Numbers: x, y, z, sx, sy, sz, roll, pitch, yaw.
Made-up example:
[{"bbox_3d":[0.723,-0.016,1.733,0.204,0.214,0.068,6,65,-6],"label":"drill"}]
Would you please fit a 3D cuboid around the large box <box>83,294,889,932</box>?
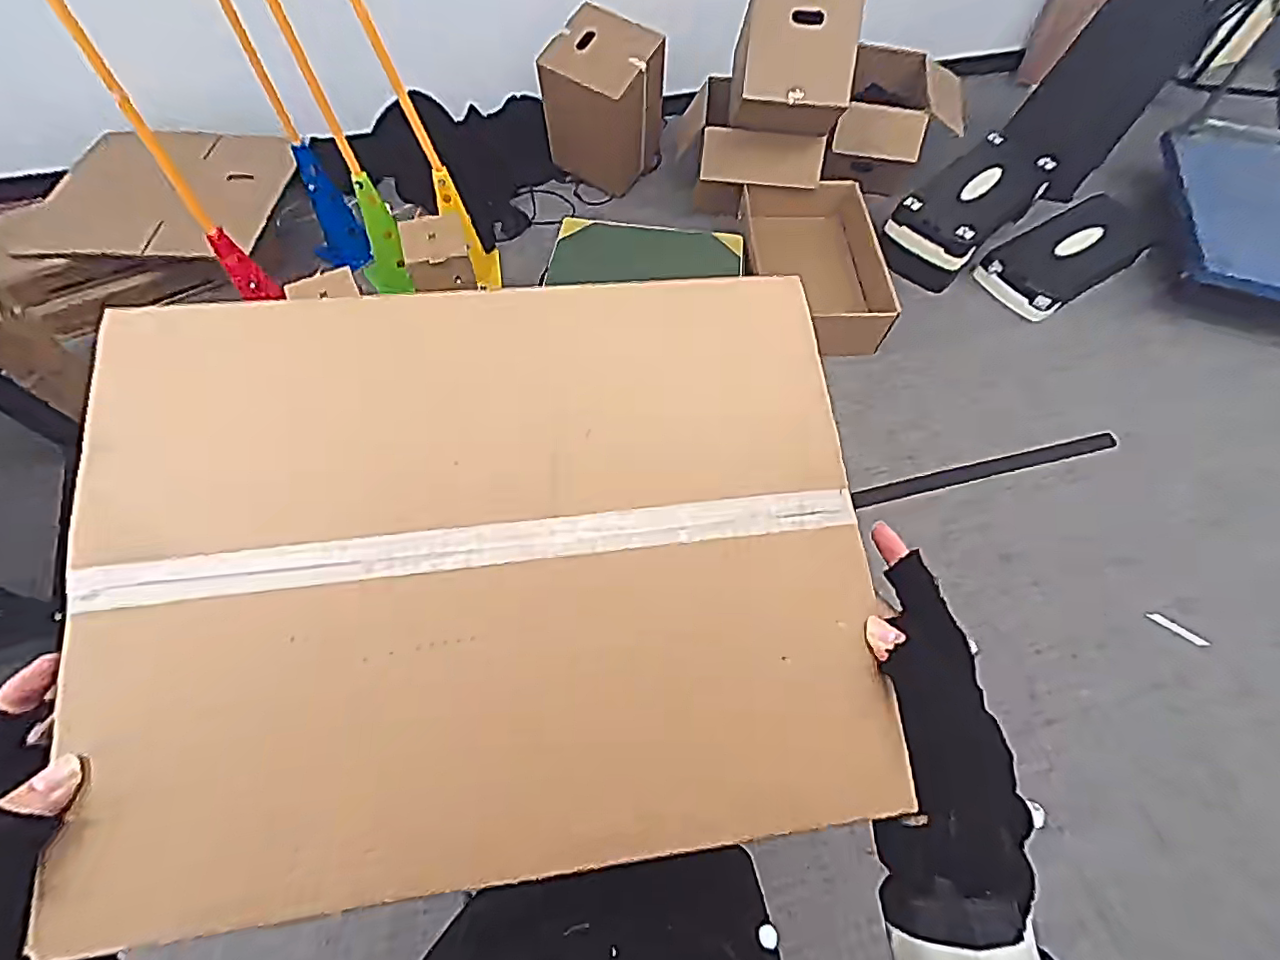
[{"bbox_3d":[-0.092,0.080,0.449,0.408,0.320,0.320,-5,76,-7],"label":"large box"}]
